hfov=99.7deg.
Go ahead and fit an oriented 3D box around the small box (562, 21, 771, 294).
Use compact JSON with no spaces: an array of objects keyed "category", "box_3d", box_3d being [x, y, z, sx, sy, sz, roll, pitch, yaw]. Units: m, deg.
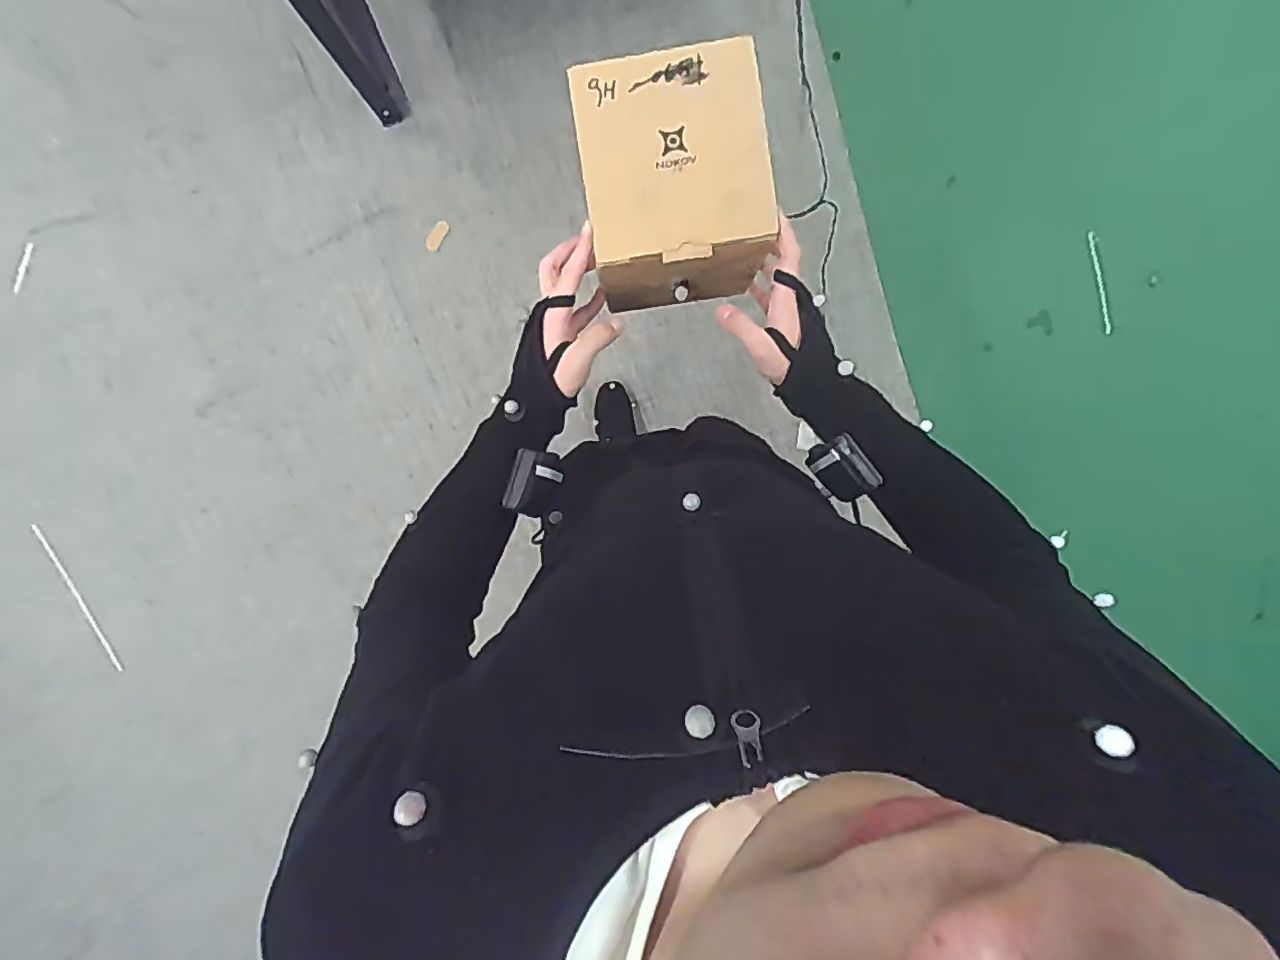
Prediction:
[{"category":"small box","box_3d":[0.026,-0.299,0.547,0.168,0.176,0.179,-8,94,1]}]
